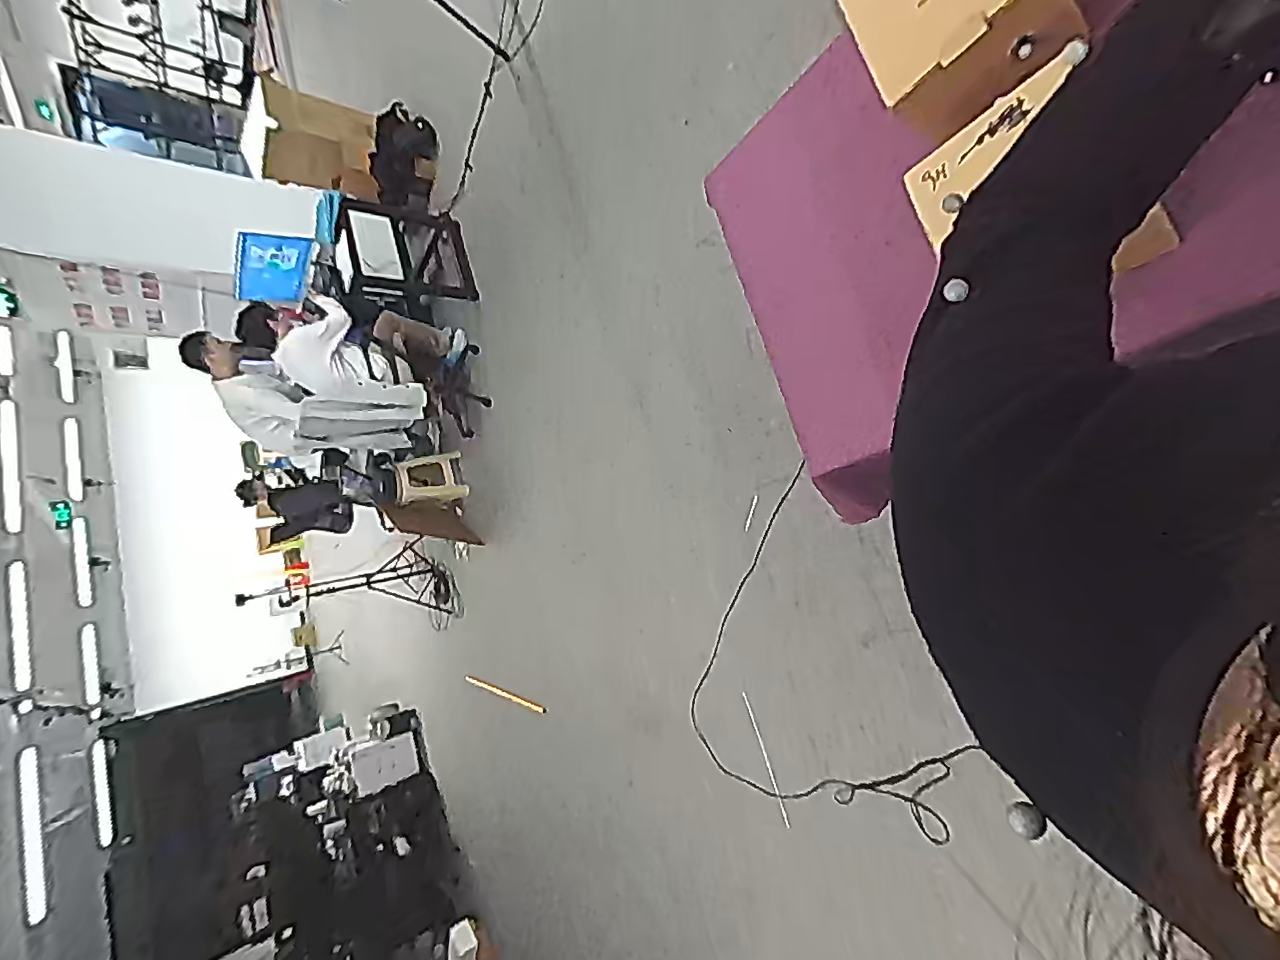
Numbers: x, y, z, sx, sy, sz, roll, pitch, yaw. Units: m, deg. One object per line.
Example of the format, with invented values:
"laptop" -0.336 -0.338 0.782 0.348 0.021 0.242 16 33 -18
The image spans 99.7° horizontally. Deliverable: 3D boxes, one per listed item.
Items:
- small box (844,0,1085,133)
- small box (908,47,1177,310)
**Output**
"small box" 0.372 -0.542 0.625 0.168 0.176 0.179 -28 74 47
"small box" 0.434 -0.300 0.586 0.168 0.176 0.179 -28 75 48
